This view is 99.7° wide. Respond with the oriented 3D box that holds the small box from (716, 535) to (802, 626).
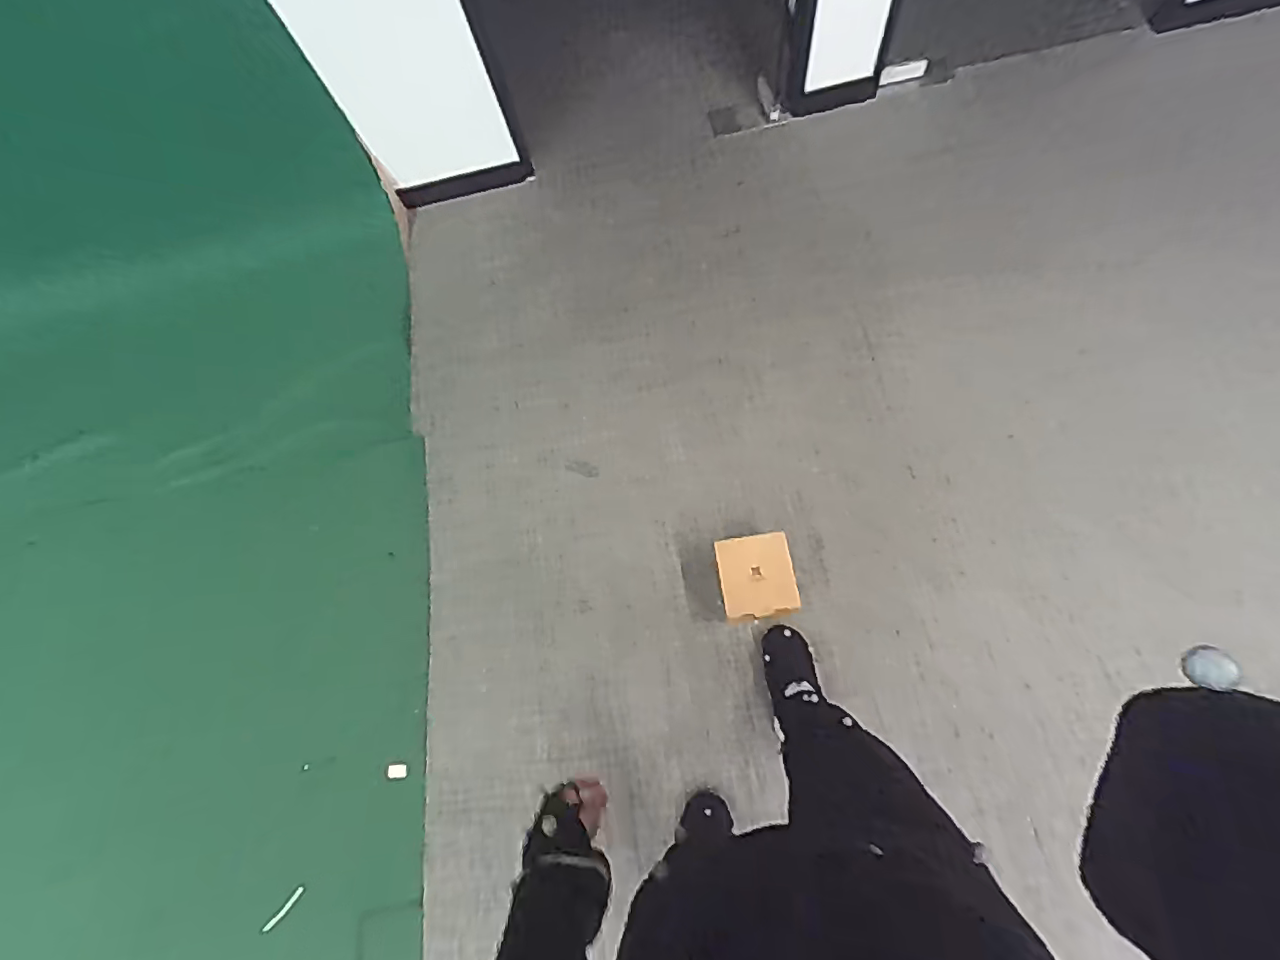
[{"bbox_3d":[0.276,0.246,1.297,0.168,0.176,0.179,-9,70,4],"label":"small box"}]
